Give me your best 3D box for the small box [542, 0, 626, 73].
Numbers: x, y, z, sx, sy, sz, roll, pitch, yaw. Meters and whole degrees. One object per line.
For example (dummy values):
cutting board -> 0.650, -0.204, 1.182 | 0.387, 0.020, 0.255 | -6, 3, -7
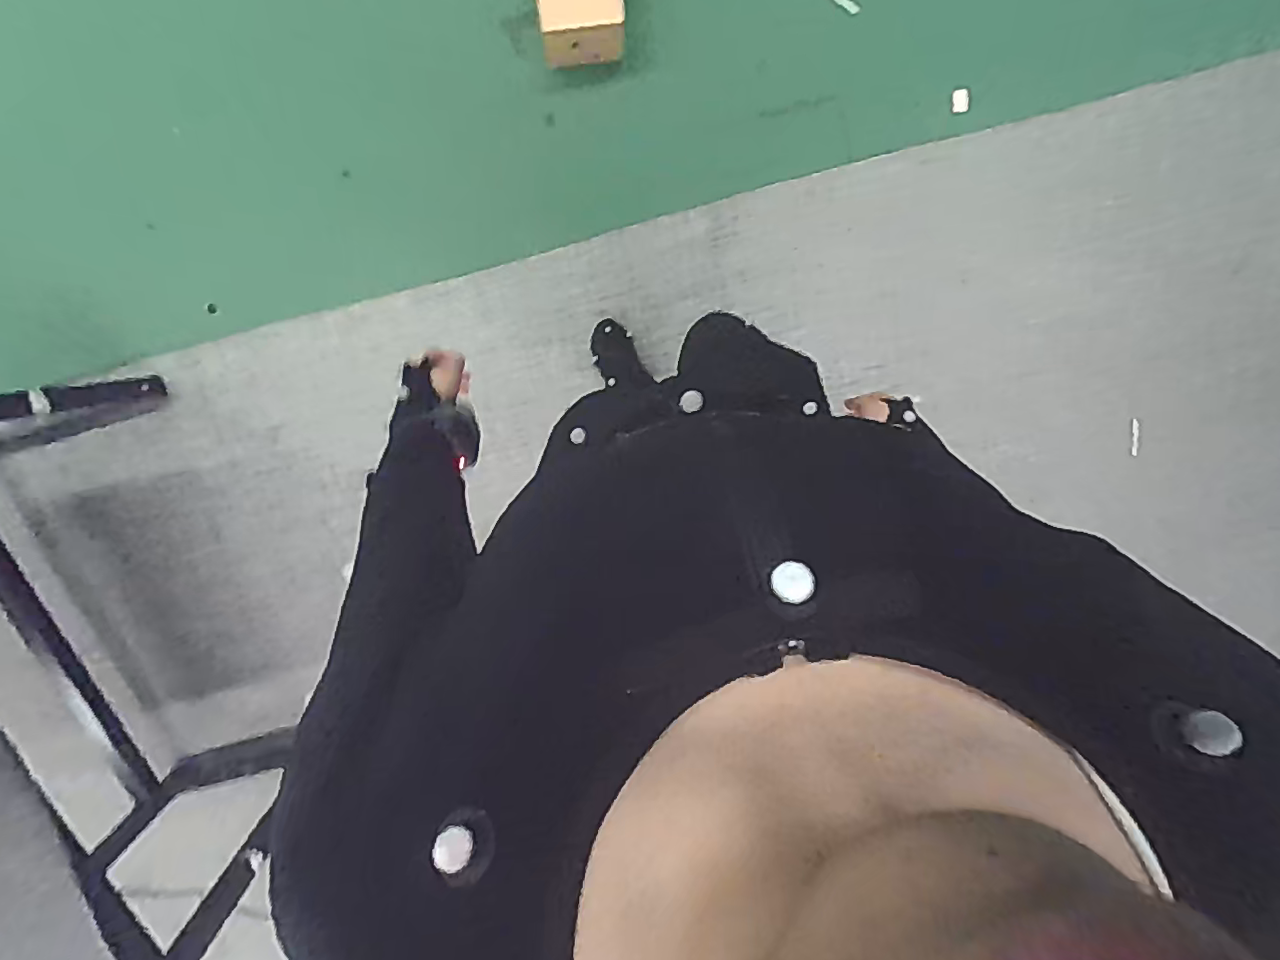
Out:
small box -> -0.117, -0.990, 1.136 | 0.168, 0.176, 0.179 | -7, 106, -1
